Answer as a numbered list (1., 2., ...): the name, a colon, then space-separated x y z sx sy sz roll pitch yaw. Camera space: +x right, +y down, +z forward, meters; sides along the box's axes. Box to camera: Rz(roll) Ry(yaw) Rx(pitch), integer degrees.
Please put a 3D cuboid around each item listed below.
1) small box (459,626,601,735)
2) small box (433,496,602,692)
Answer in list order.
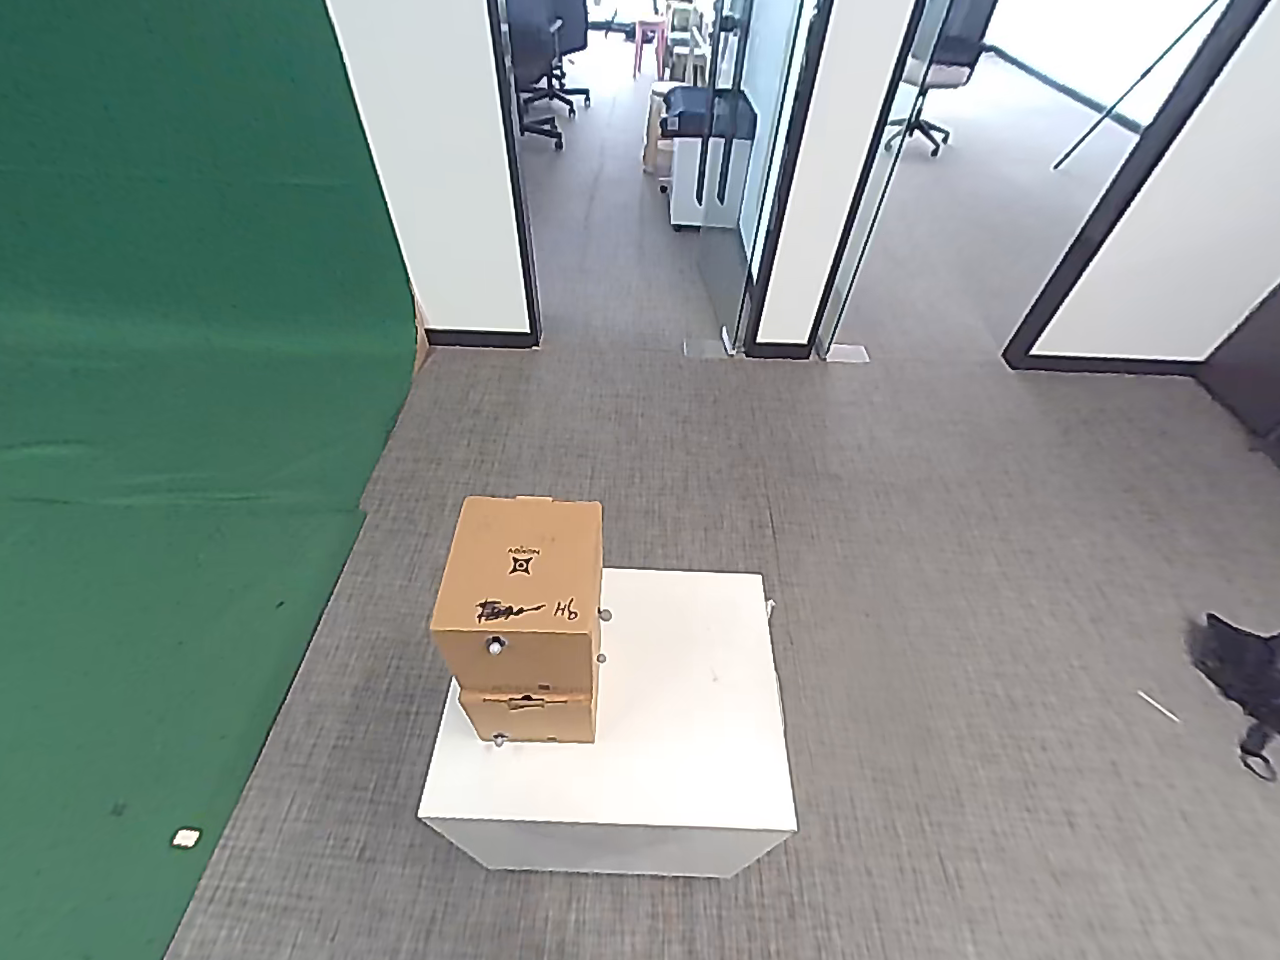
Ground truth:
1. small box: -0.145 0.257 0.784 0.168 0.176 0.179 2 48 -2
2. small box: -0.134 0.141 0.669 0.168 0.176 0.179 2 48 -1
